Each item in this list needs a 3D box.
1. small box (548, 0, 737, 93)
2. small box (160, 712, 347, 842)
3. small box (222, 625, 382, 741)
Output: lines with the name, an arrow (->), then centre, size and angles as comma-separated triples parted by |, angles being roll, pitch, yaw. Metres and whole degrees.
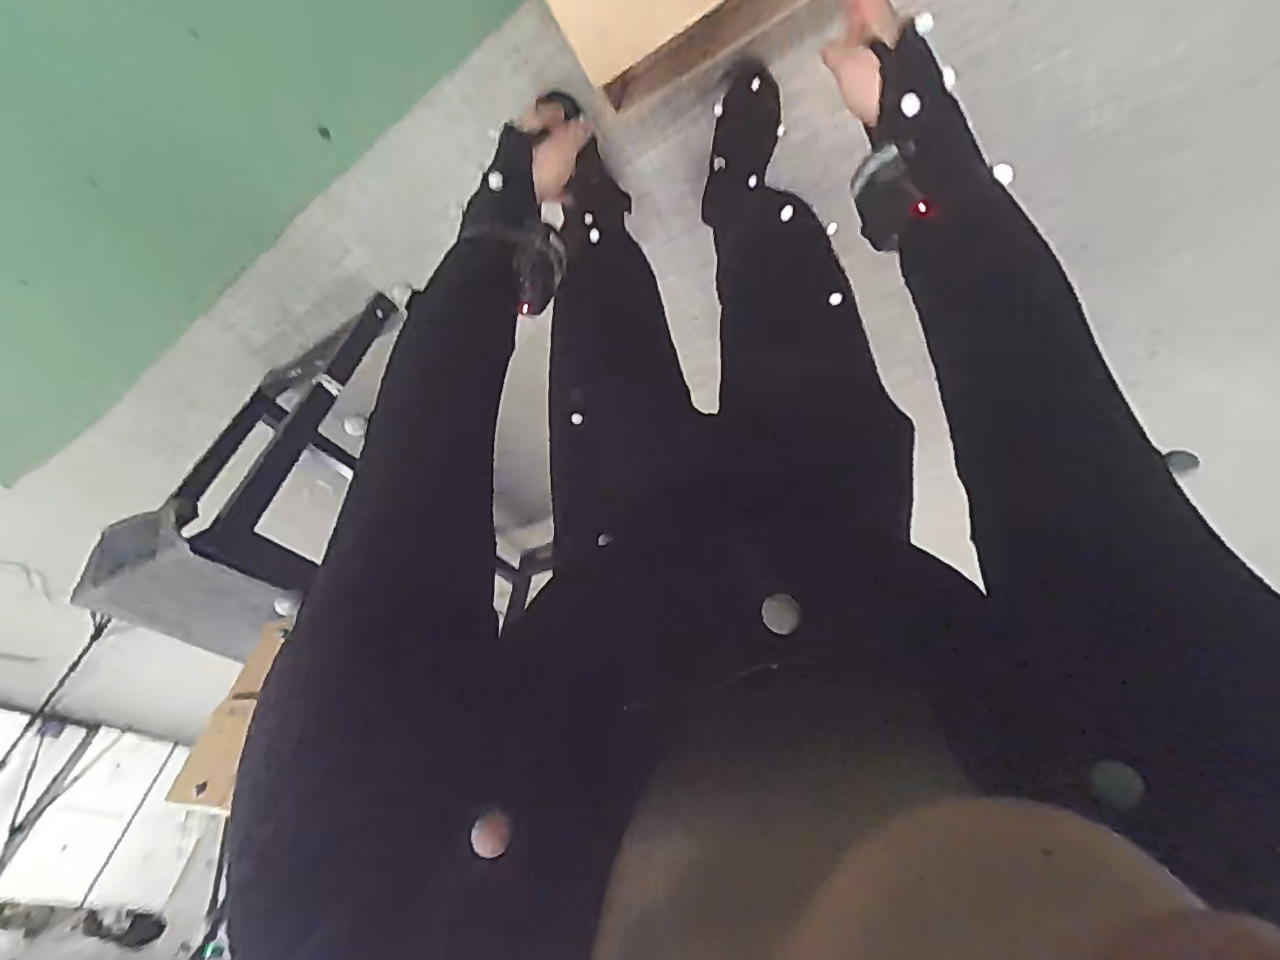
small box -> -0.007, -0.571, 0.577 | 0.179, 0.176, 0.168 | -16, 136, 27
small box -> -0.663, 0.520, 0.951 | 0.168, 0.176, 0.179 | -13, 138, 24
small box -> -0.653, 0.405, 1.068 | 0.168, 0.176, 0.179 | -15, 135, 26
